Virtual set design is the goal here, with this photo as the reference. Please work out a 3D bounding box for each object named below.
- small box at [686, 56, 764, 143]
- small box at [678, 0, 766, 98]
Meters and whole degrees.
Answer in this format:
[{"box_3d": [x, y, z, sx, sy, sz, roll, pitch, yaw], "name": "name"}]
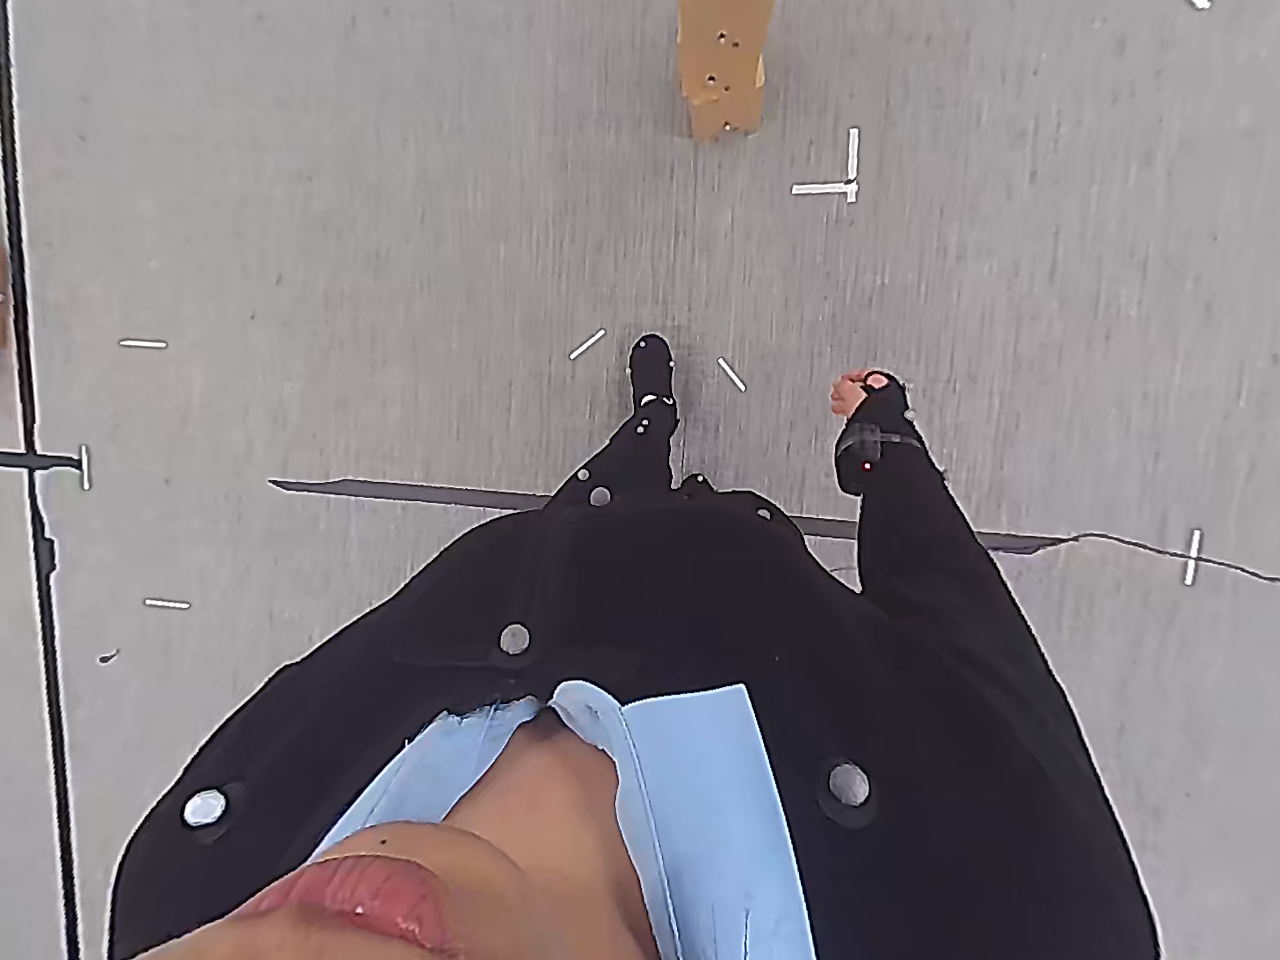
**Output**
[{"box_3d": [0.194, -0.947, 1.284, 0.168, 0.176, 0.179, -8, 95, 8], "name": "small box"}, {"box_3d": [0.169, -0.938, 1.123, 0.168, 0.176, 0.179, 4, 96, 6], "name": "small box"}]
